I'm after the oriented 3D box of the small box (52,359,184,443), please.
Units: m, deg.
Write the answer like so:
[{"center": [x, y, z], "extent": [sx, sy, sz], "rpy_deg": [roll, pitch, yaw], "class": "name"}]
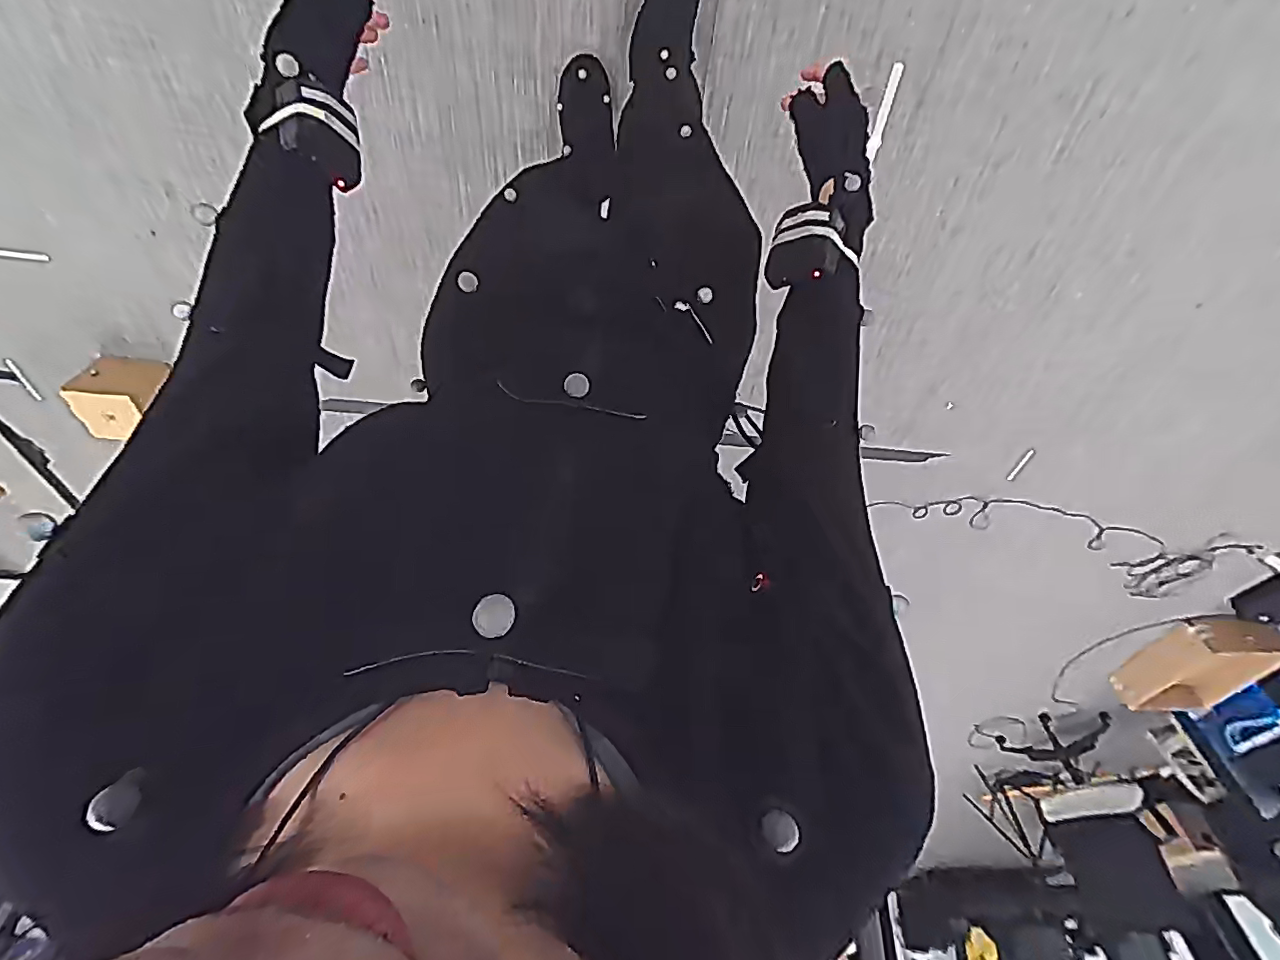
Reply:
[{"center": [-1.449, -0.224, 1.516], "extent": [0.179, 0.176, 0.168], "rpy_deg": [3, 134, -6], "class": "small box"}]
